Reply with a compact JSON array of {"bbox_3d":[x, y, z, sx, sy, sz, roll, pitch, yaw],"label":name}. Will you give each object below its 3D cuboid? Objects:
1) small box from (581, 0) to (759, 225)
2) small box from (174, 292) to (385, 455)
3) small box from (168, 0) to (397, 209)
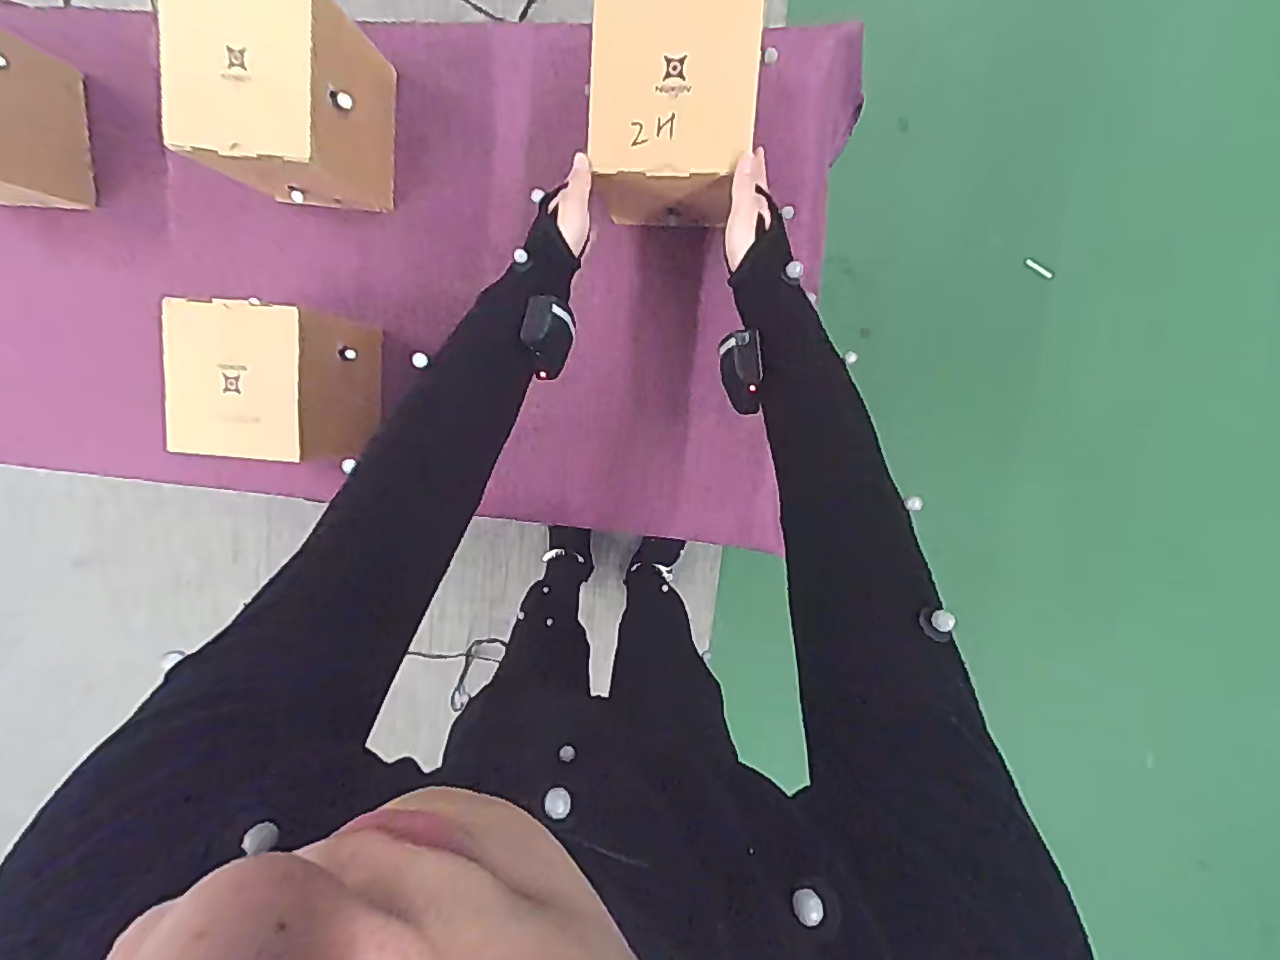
[{"bbox_3d":[0.037,-0.408,0.611,0.168,0.176,0.179,6,101,8],"label":"small box"},{"bbox_3d":[-0.457,-0.133,0.708,0.168,0.176,0.179,6,99,5],"label":"small box"},{"bbox_3d":[-0.413,-0.452,0.651,0.168,0.176,0.179,8,102,4],"label":"small box"}]
